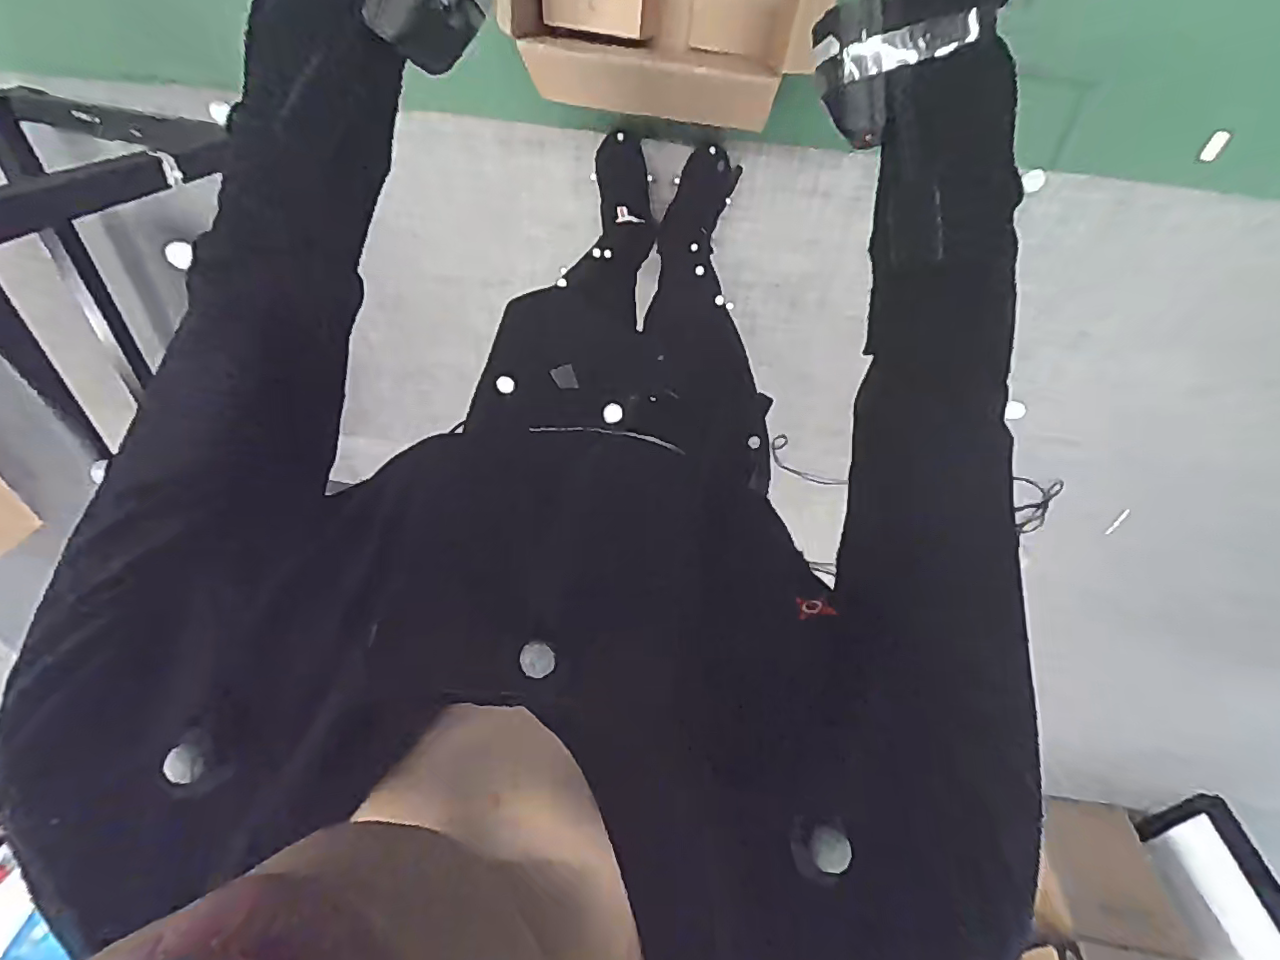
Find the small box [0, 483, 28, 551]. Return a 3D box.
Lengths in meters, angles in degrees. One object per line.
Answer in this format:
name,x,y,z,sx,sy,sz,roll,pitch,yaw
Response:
small box,-1.192,0.060,0.889,0.179,0.176,0.168,7,131,3
